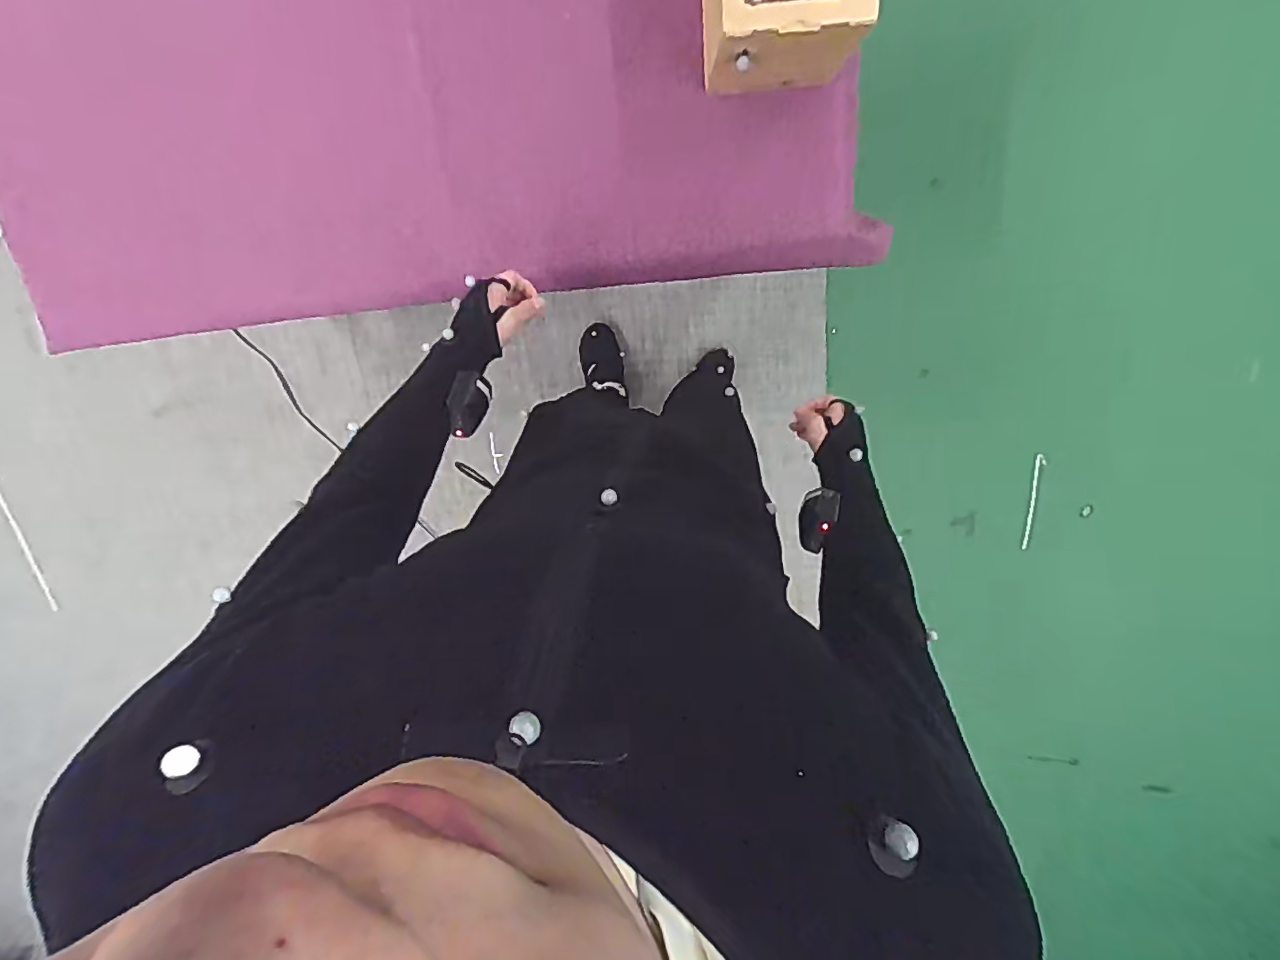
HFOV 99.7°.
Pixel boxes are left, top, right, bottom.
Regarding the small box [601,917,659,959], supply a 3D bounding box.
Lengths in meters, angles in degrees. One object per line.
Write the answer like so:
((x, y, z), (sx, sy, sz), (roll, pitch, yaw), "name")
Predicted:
((-0.025, 1.434, 1.588), (0.168, 0.176, 0.179), (-3, 108, 0), "small box")
